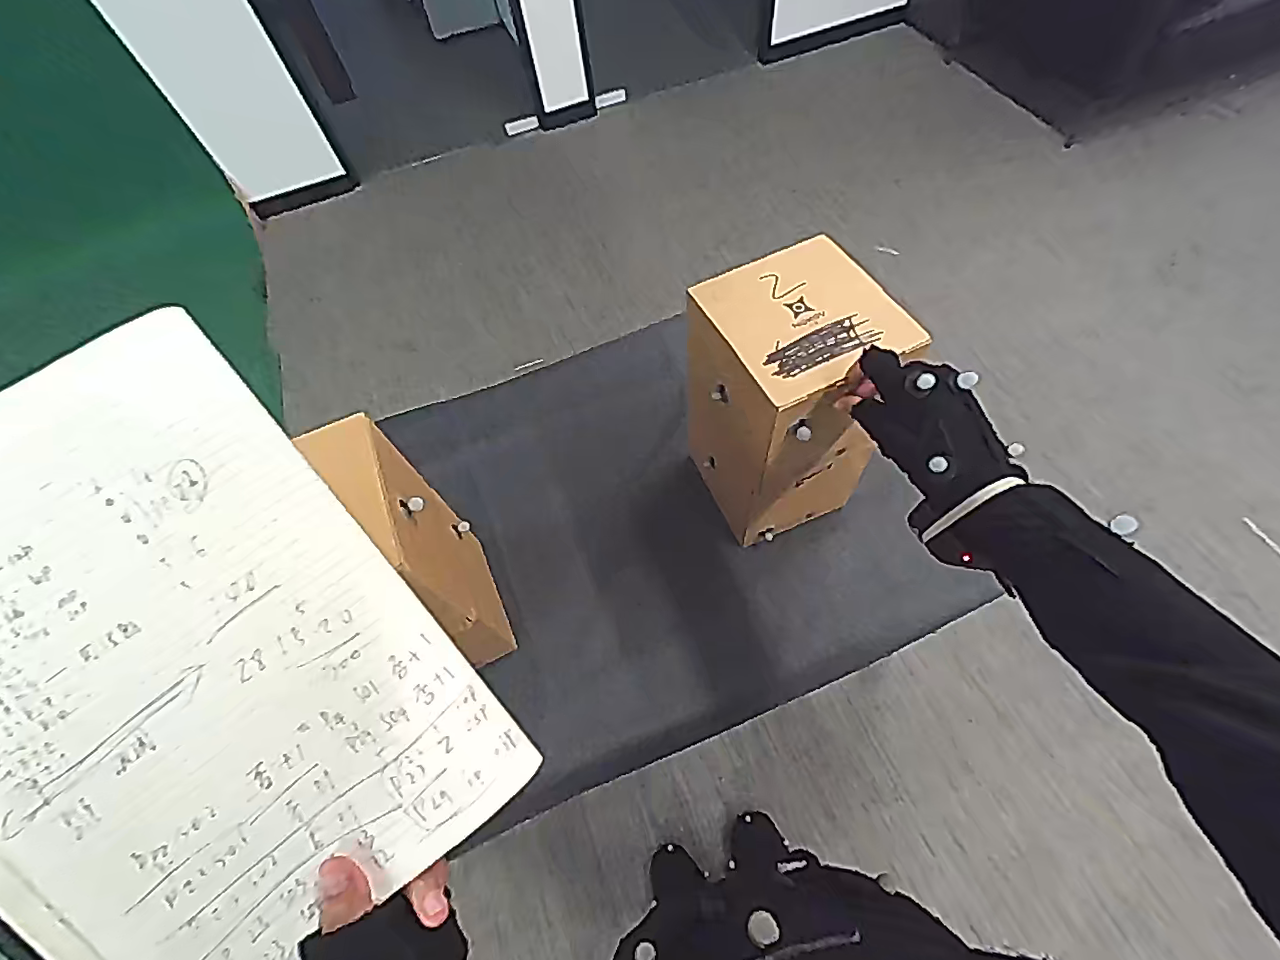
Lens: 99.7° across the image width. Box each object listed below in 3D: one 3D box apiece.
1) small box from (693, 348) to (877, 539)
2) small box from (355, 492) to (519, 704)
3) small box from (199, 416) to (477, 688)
[{"bbox_3d":[0.183,-0.039,0.734,0.168,0.176,0.179,-22,59,-7],"label":"small box"},{"bbox_3d":[-0.271,0.151,0.670,0.168,0.176,0.179,-25,61,-8],"label":"small box"},{"bbox_3d":[-0.281,0.076,0.526,0.168,0.176,0.179,-24,60,-8],"label":"small box"}]
